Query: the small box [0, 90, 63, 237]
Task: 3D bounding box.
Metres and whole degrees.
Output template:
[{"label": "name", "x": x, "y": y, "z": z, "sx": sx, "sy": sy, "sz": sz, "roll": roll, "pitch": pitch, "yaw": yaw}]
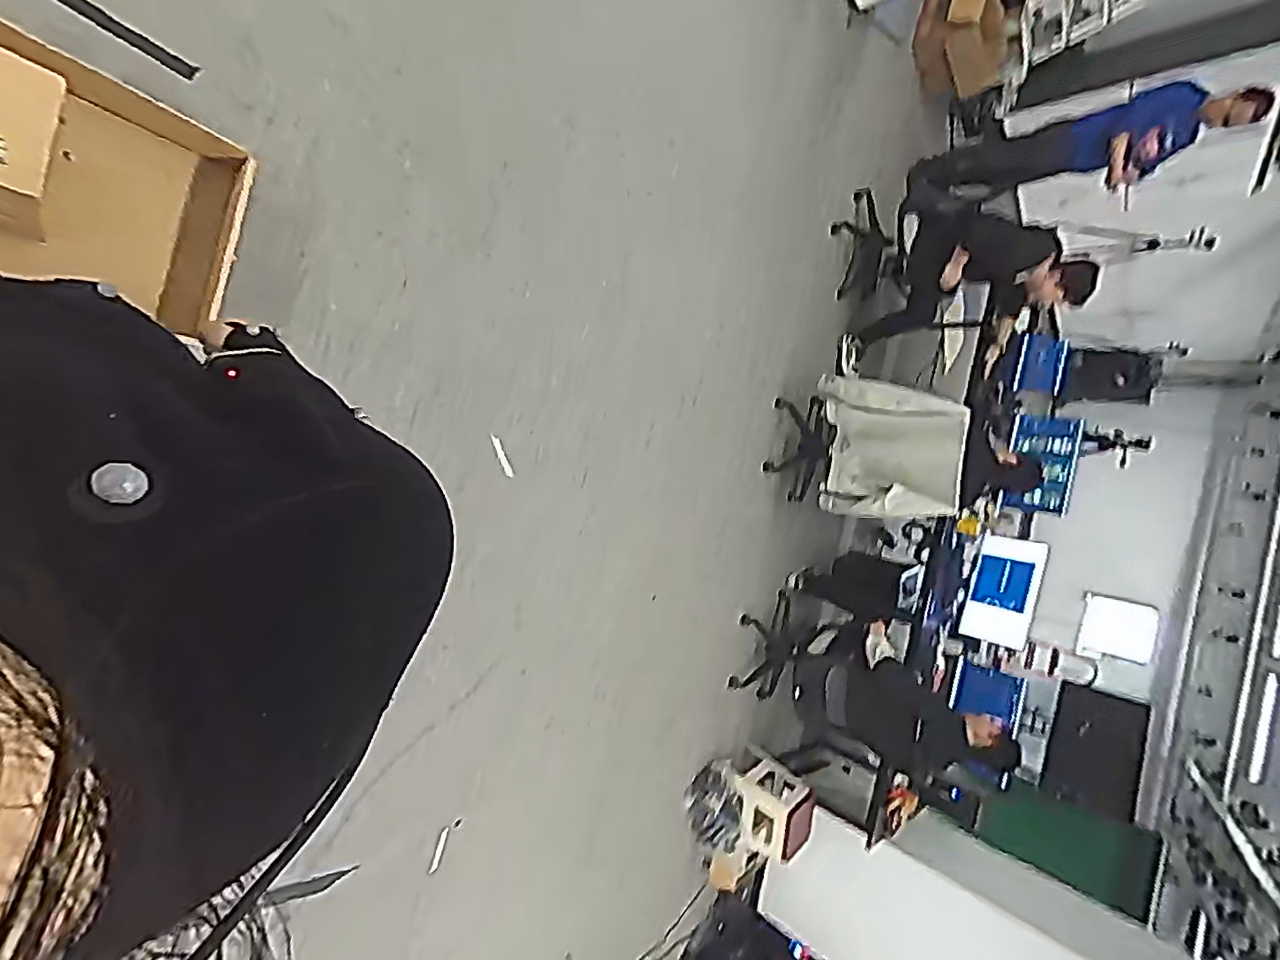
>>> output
[{"label": "small box", "x": -1.038, "y": -0.509, "z": 0.841, "sx": 0.168, "sy": 0.176, "sz": 0.179, "roll": 12, "pitch": 89, "yaw": -48}]
